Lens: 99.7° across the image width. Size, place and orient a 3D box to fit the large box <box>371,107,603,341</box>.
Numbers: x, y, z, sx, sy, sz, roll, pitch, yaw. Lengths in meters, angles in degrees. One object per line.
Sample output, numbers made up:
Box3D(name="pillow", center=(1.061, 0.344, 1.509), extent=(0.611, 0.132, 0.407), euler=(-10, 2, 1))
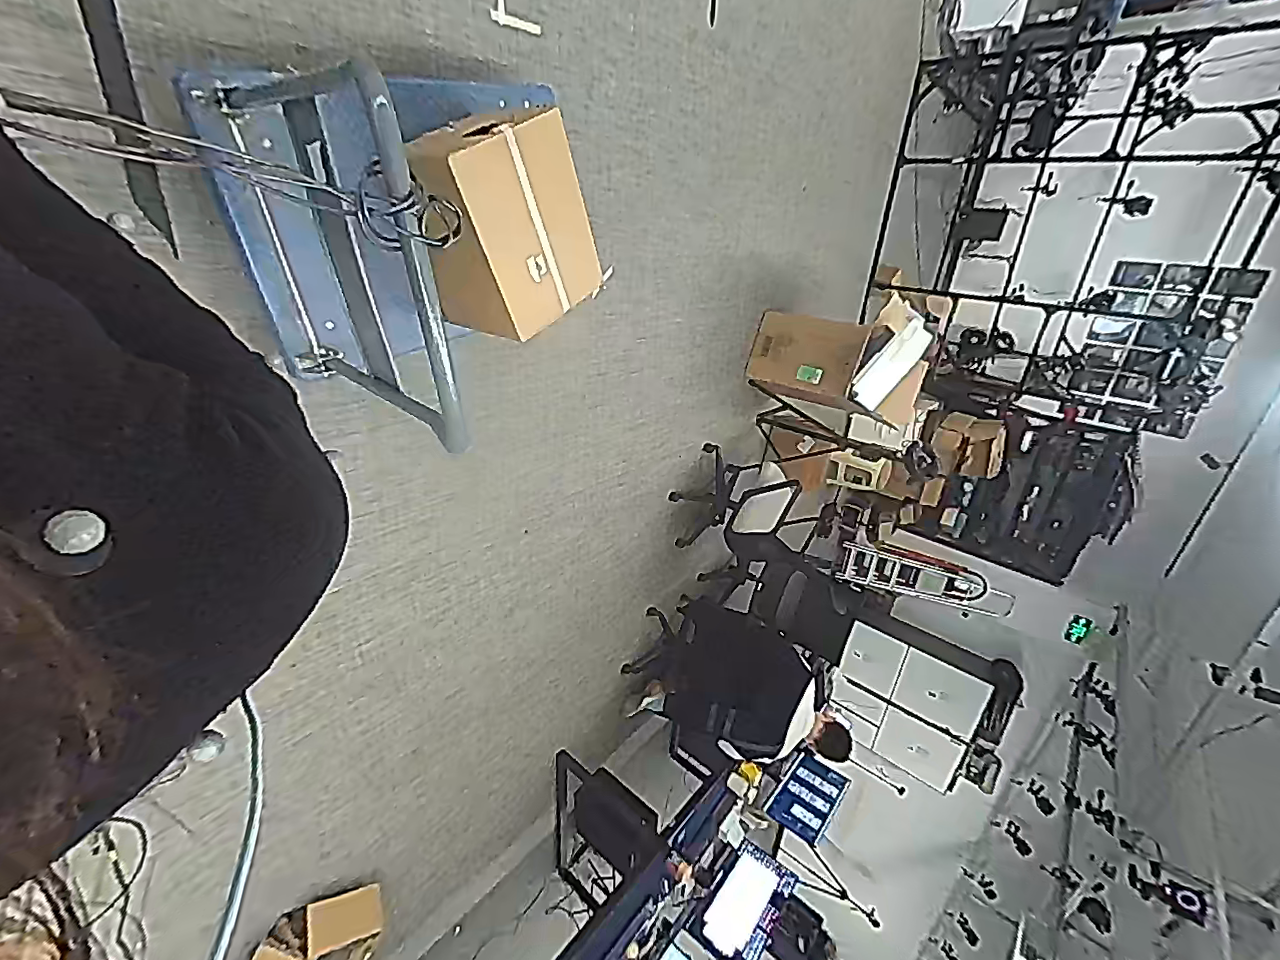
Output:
Box3D(name="large box", center=(-0.345, -0.609, 1.299), extent=(0.320, 0.320, 0.408), euler=(-46, 141, -27))
